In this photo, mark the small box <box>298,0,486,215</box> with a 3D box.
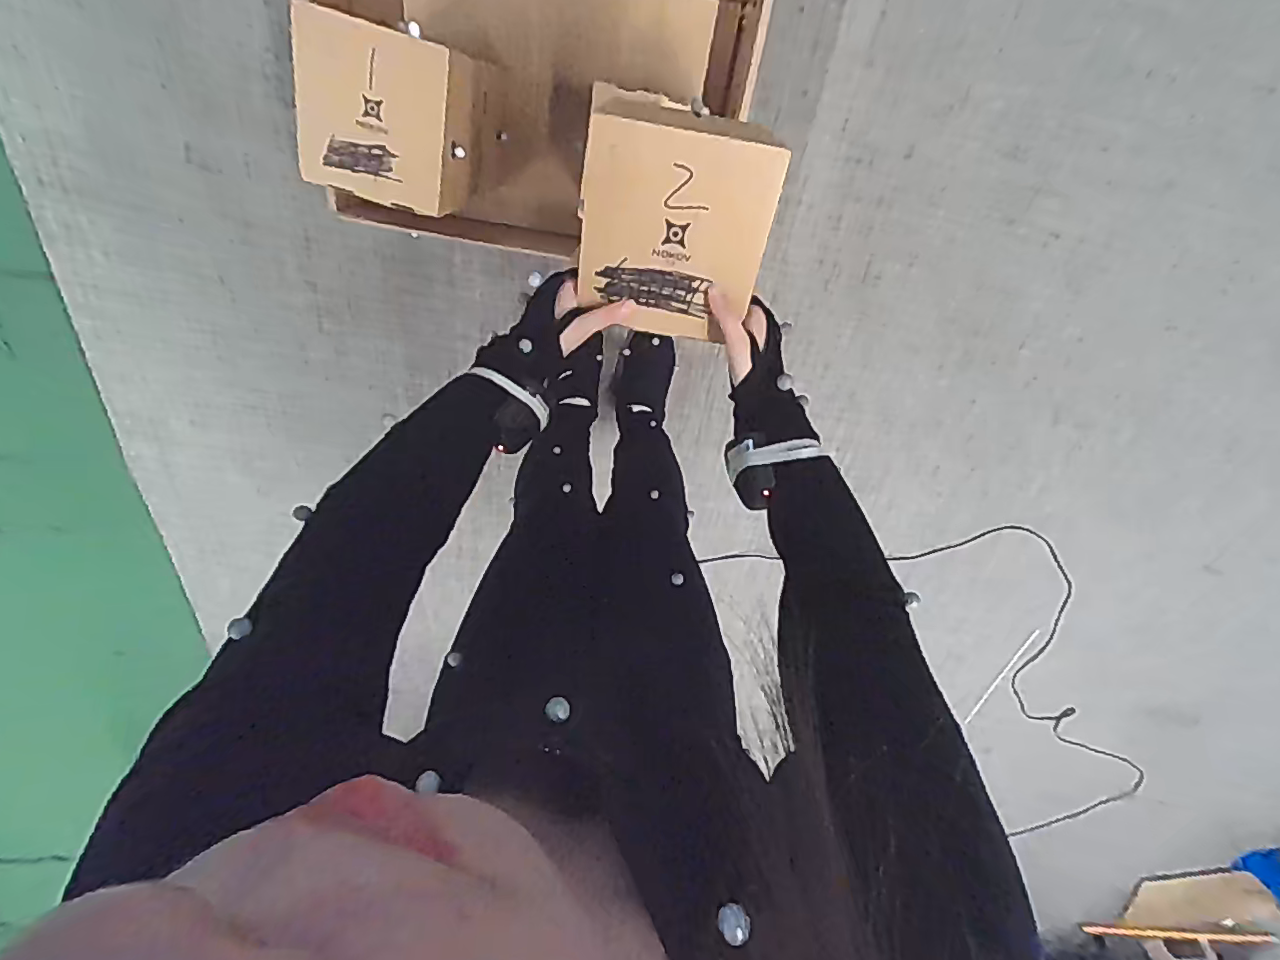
[{"bbox_3d":[-0.303,-0.462,0.687,0.168,0.176,0.179,13,121,-9],"label":"small box"}]
